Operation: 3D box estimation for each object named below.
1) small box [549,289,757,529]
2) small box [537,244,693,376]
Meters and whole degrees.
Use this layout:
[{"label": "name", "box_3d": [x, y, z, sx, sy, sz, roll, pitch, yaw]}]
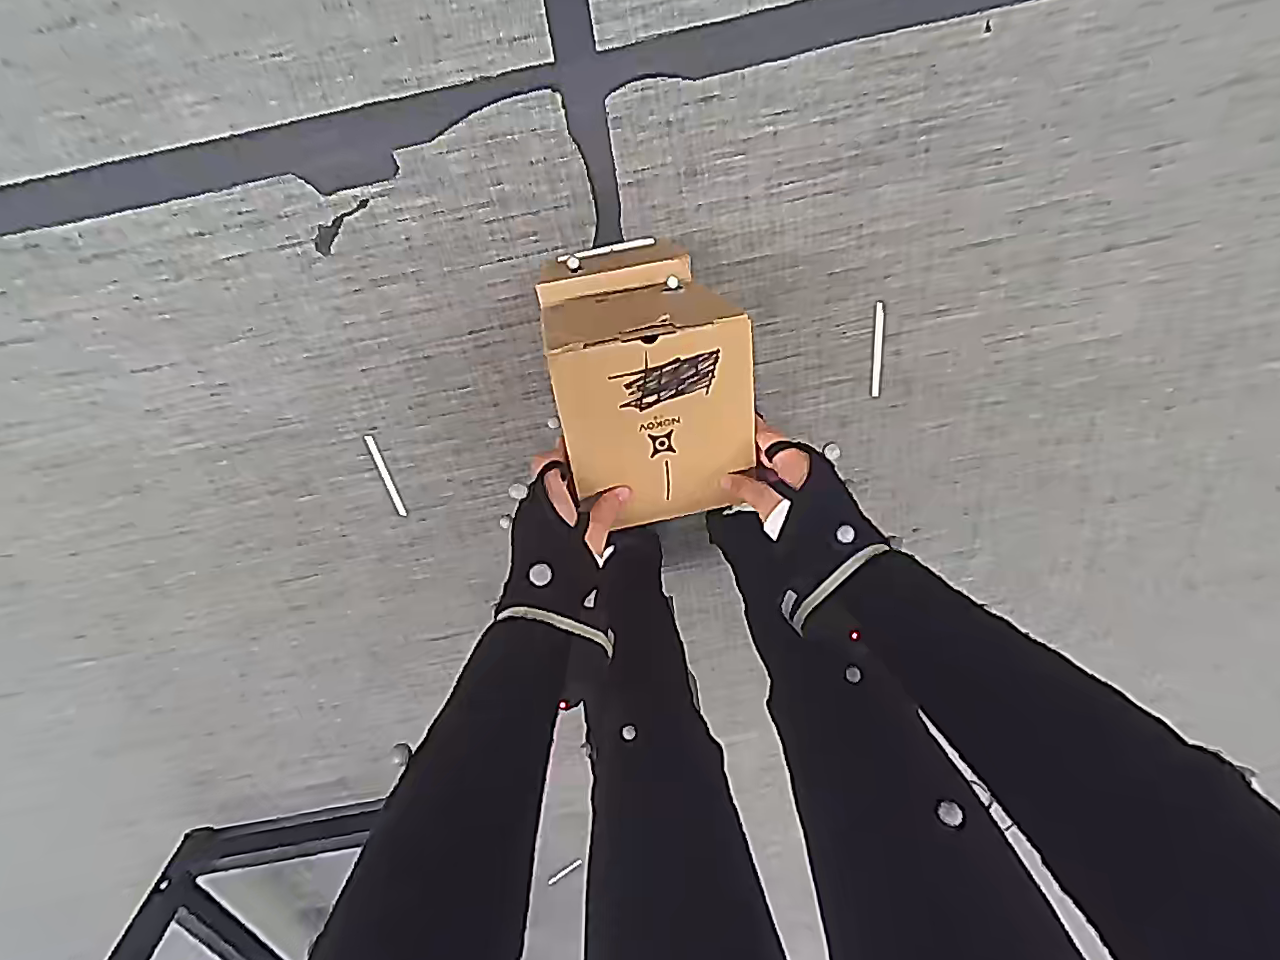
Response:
[{"label": "small box", "box_3d": [0.008, -0.081, 0.533, 0.168, 0.176, 0.179, -11, 121, -4]}, {"label": "small box", "box_3d": [-0.024, -0.201, 0.706, 0.179, 0.176, 0.168, -10, 120, 0]}]
